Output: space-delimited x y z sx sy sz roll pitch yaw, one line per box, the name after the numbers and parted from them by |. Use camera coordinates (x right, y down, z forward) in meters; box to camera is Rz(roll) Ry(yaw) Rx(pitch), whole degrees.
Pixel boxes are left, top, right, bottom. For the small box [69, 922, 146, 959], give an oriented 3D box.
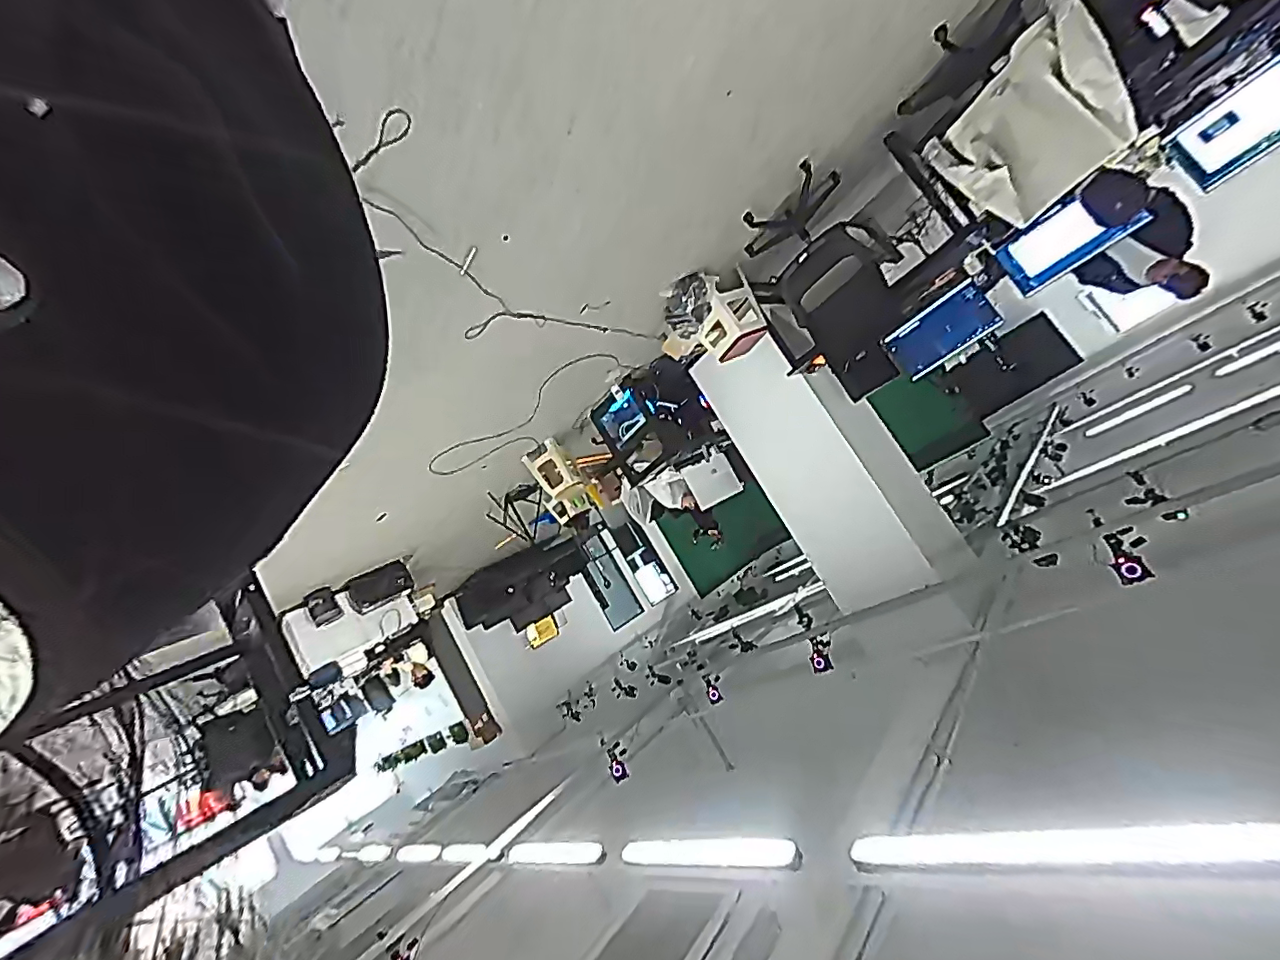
-1.273 1.187 1.266 0.168 0.176 0.179 -21 169 -47 | small box
